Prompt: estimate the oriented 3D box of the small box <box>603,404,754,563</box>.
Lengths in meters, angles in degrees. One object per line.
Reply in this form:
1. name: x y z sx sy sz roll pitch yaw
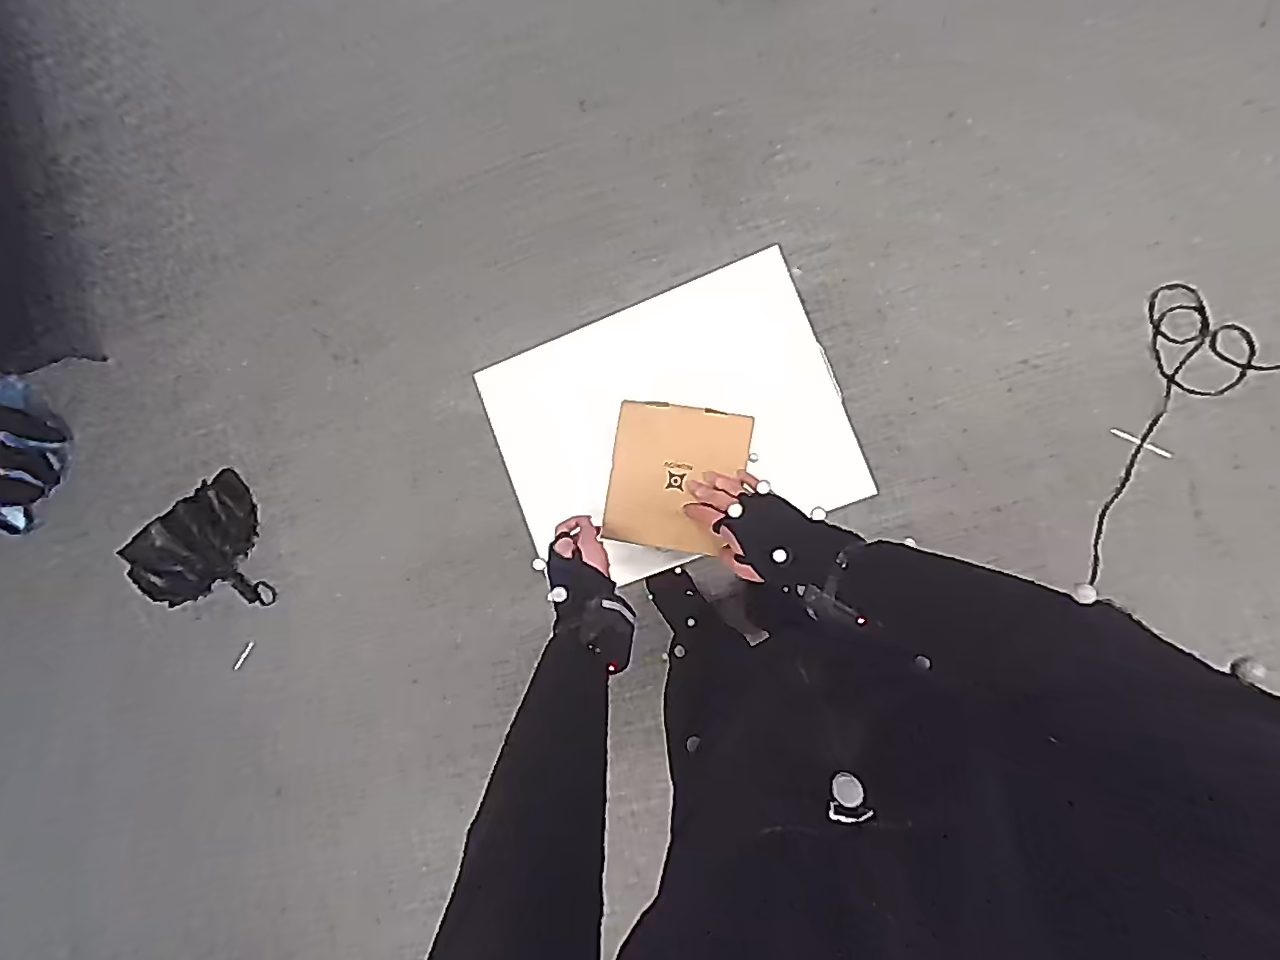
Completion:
1. small box: 0.057 0.005 0.740 0.168 0.176 0.179 8 90 9
